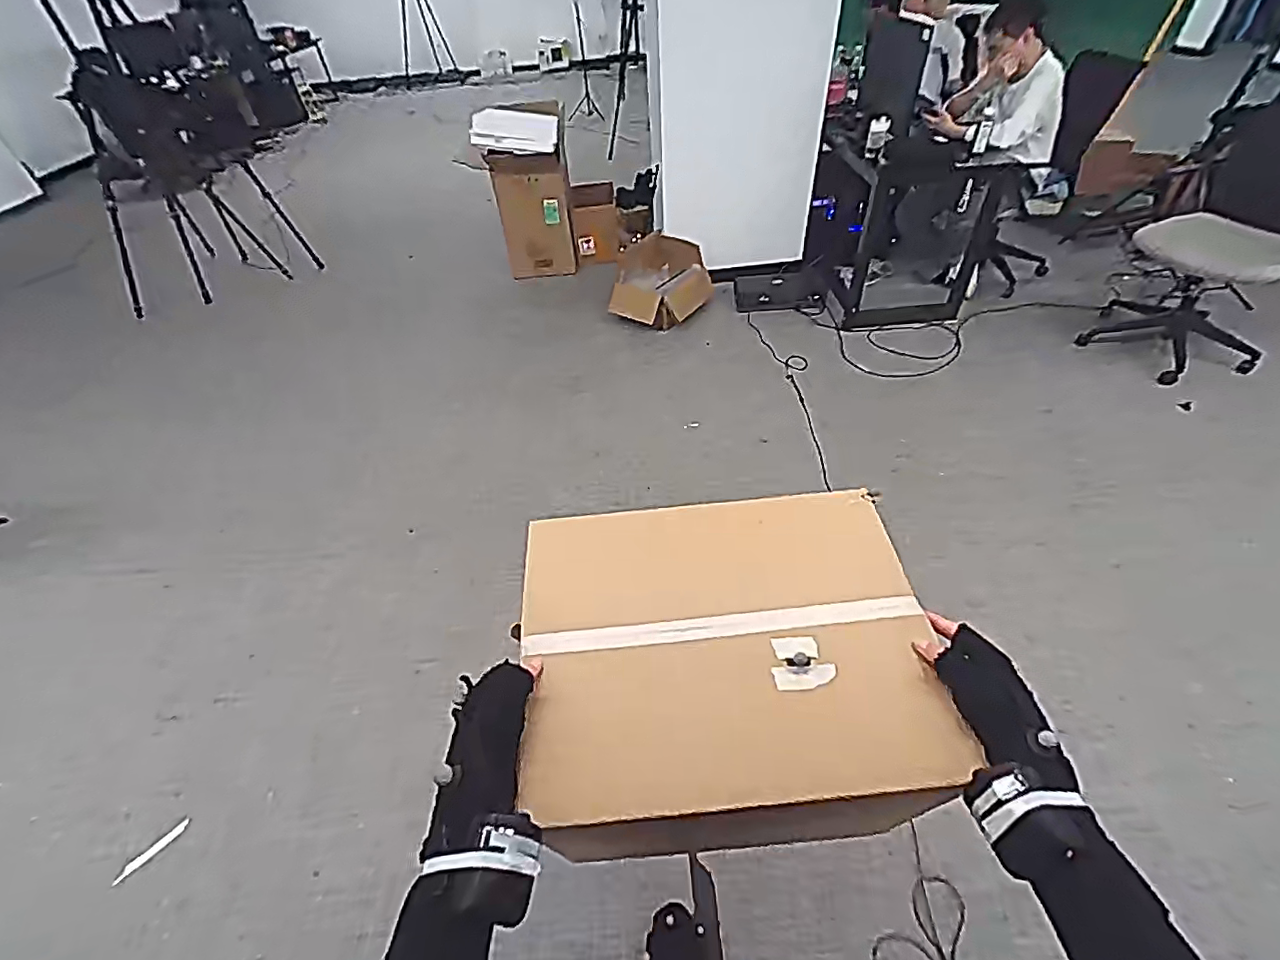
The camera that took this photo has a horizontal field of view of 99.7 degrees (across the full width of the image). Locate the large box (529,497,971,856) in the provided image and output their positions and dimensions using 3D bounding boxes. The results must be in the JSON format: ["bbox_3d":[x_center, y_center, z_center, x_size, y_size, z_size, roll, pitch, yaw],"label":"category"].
[{"bbox_3d":[0.091,0.252,0.680,0.408,0.320,0.320,-5,51,-1],"label":"large box"}]
